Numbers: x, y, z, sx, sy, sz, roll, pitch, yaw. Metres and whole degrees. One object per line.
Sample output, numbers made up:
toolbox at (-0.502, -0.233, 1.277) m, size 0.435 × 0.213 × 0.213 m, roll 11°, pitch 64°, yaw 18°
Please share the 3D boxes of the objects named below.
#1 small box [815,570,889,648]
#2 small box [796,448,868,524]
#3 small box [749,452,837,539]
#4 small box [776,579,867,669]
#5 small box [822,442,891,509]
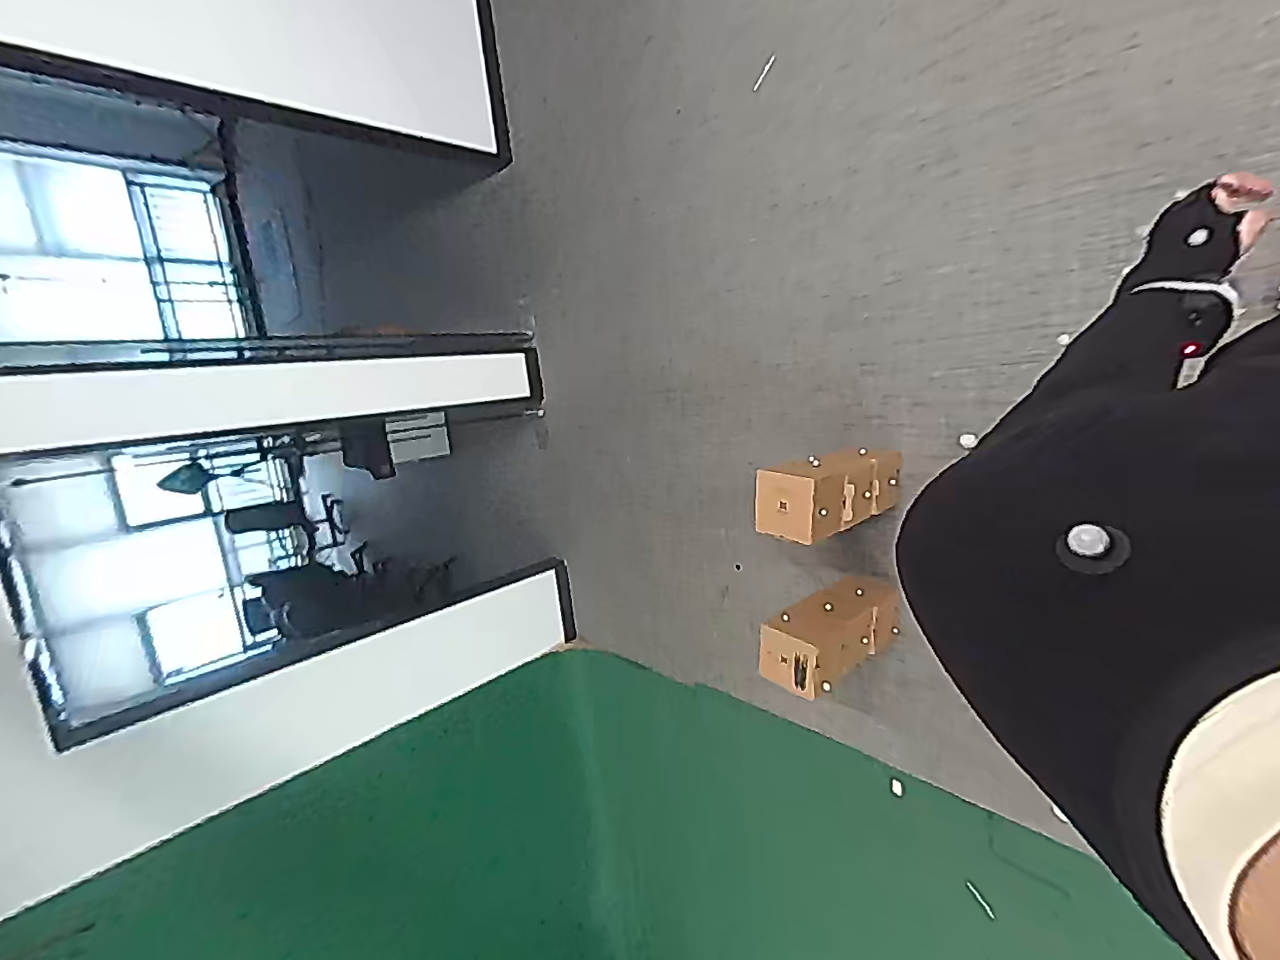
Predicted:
small box at (0.680, 0.405, 1.738) m, size 0.179 × 0.176 × 0.168 m, roll 13°, pitch 110°, yaw 45°
small box at (0.523, 0.009, 1.545) m, size 0.179 × 0.176 × 0.168 m, roll 15°, pitch 113°, yaw 44°
small box at (0.406, 0.034, 1.434) m, size 0.168 × 0.176 × 0.179 m, roll 14°, pitch 111°, yaw 43°
small box at (0.557, 0.435, 1.648) m, size 0.168 × 0.176 × 0.179 m, roll 45°, pitch 131°, yaw 26°
small box at (0.648, -0.022, 1.649) m, size 0.179 × 0.176 × 0.168 m, roll 9°, pitch 107°, yaw 45°
